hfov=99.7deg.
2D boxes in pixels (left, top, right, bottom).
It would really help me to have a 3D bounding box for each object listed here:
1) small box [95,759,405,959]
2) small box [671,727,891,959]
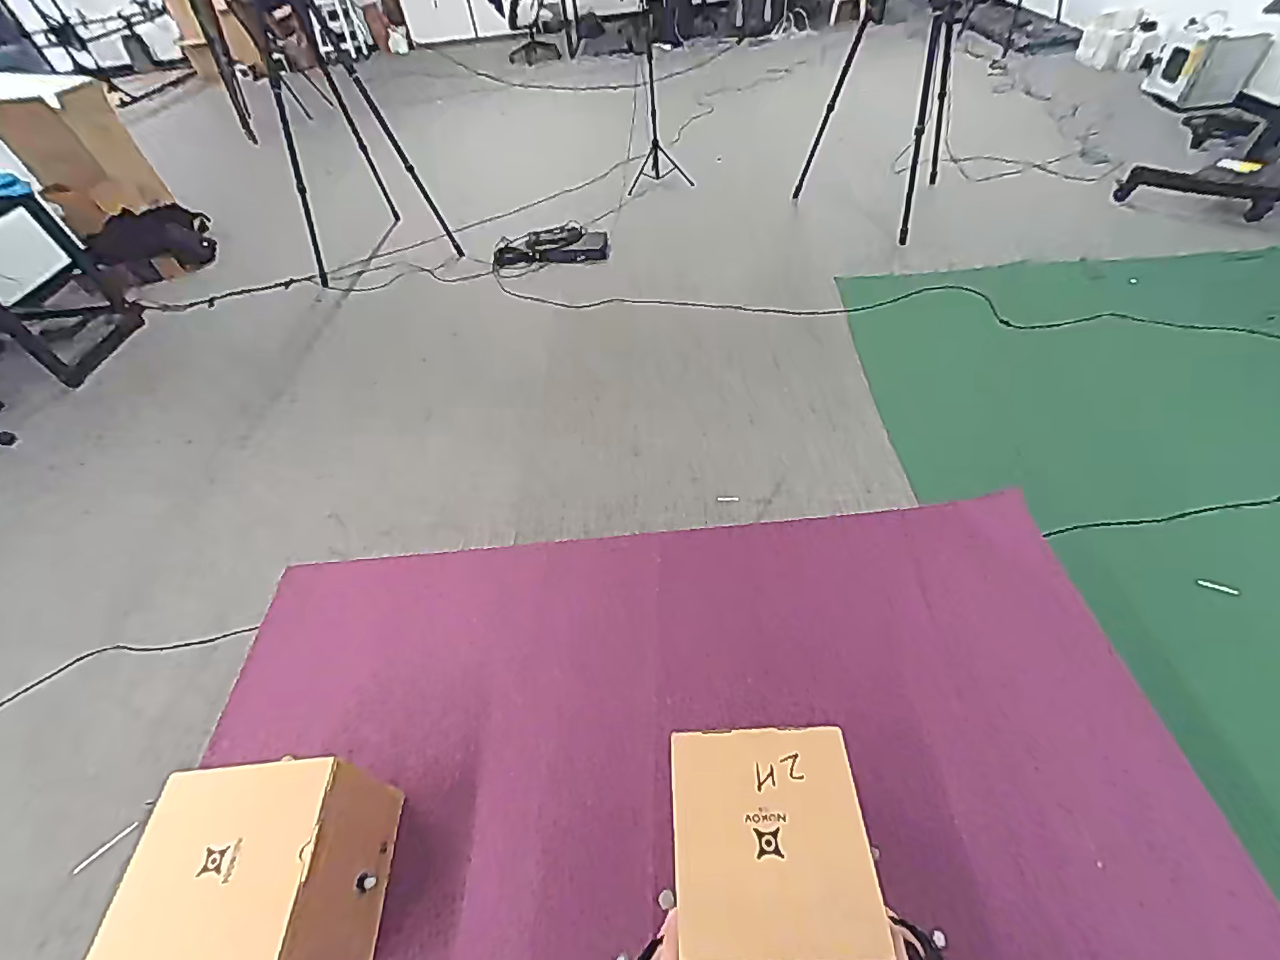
[{"bbox_3d":[-0.379,0.411,0.563,0.179,0.176,0.168,-7,48,1],"label":"small box"},{"bbox_3d":[0.121,0.362,0.524,0.168,0.176,0.179,-5,45,6],"label":"small box"}]
